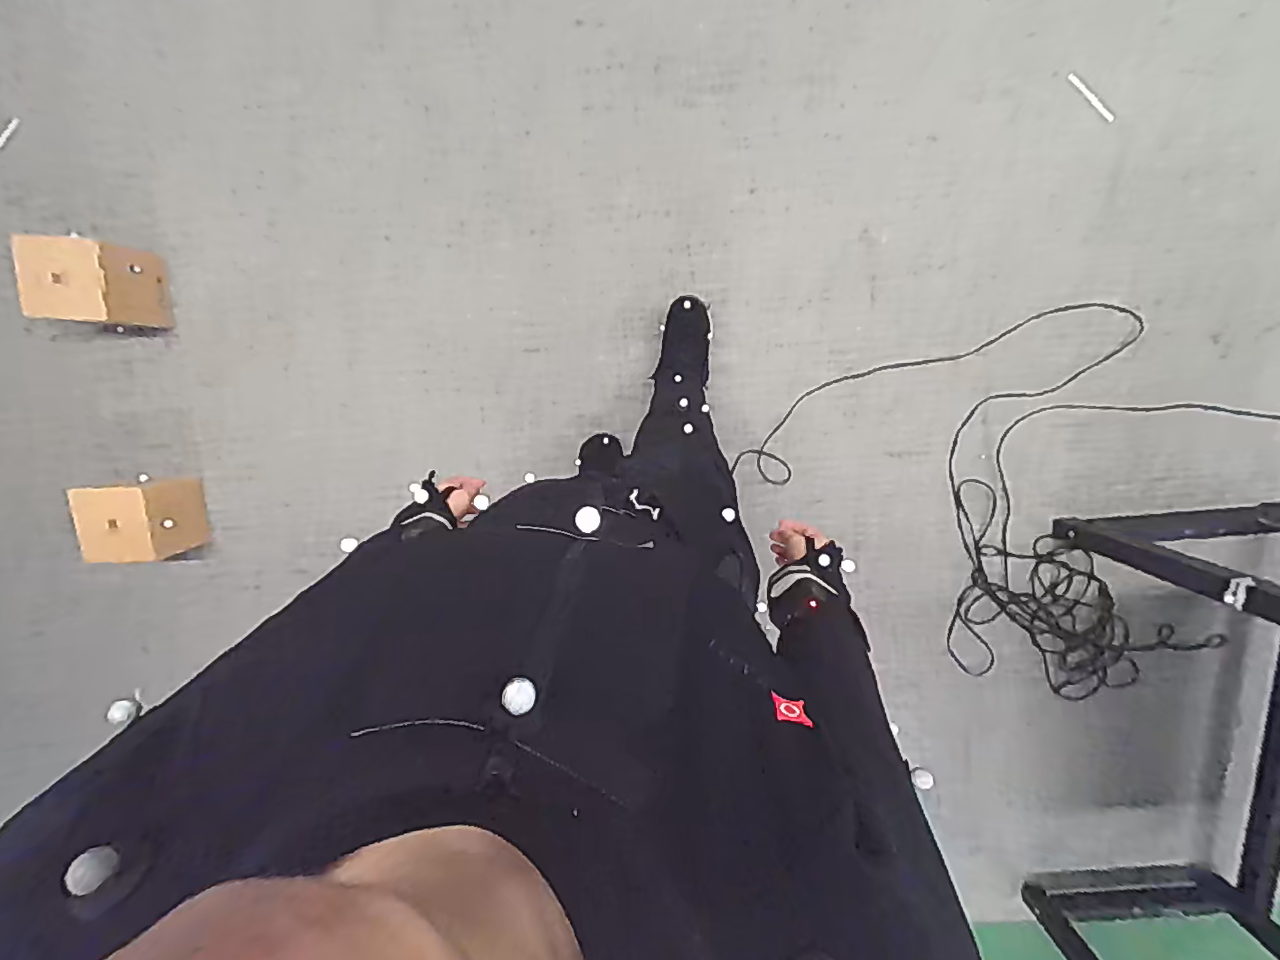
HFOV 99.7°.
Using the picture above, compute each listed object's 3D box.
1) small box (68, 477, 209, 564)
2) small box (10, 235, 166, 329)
[{"bbox_3d":[-1.179,0.089,1.285,0.168,0.176,0.179,-2,102,0],"label":"small box"},{"bbox_3d":[-1.189,-0.425,1.184,0.179,0.176,0.168,2,100,0],"label":"small box"}]
